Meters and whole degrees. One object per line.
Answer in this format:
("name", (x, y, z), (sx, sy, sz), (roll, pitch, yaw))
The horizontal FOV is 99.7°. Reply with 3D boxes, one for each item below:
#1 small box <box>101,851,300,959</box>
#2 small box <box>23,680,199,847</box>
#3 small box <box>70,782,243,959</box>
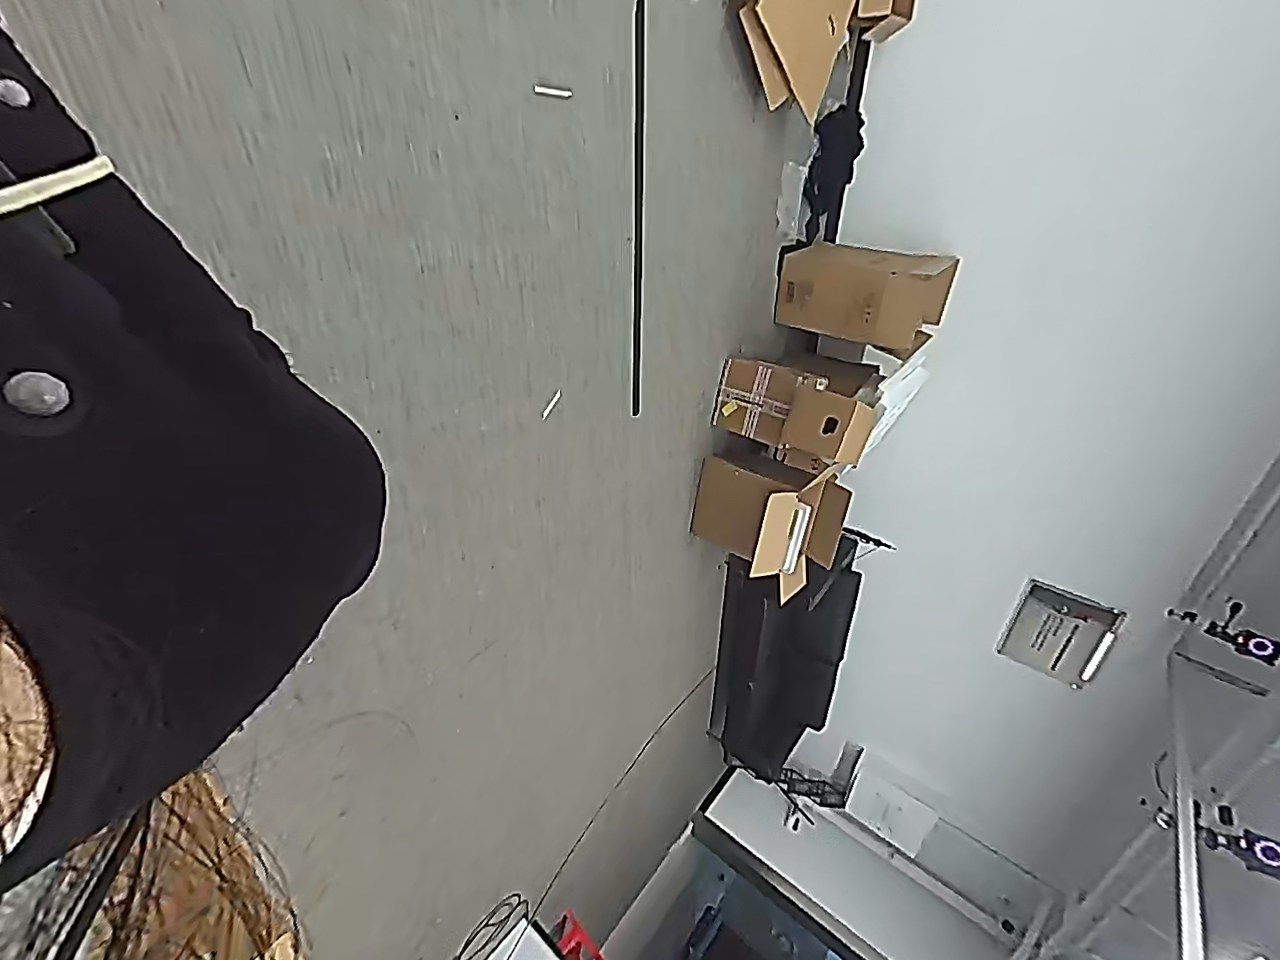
("small box", (-0.592, 0.671, 0.738), (0.179, 0.176, 0.168), (-27, 129, -45))
("small box", (-0.975, 0.511, 1.001), (0.179, 0.176, 0.168), (-31, 131, -41))
("small box", (-0.718, 0.618, 0.825), (0.179, 0.176, 0.168), (-28, 130, -45))
